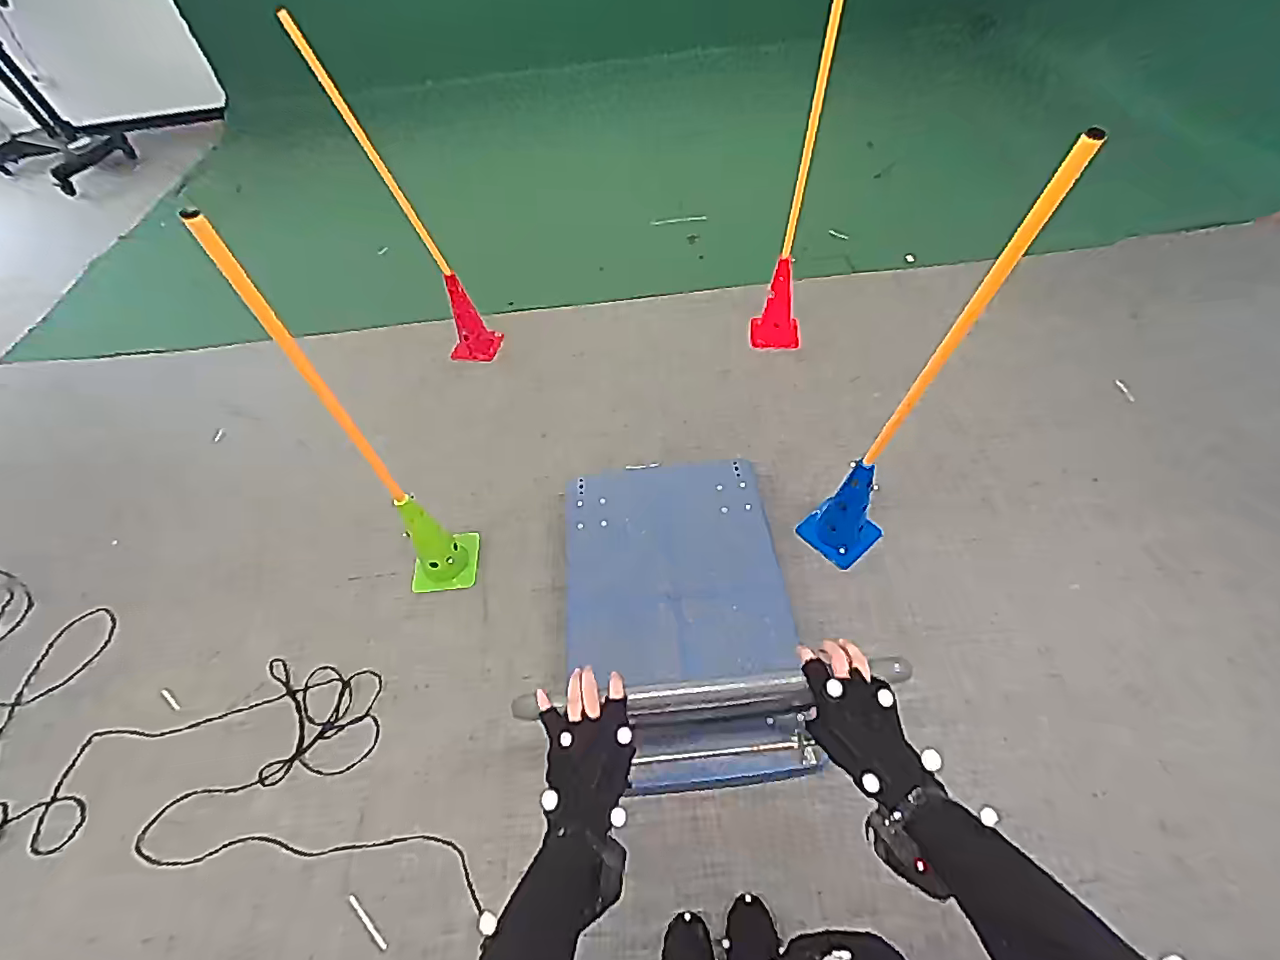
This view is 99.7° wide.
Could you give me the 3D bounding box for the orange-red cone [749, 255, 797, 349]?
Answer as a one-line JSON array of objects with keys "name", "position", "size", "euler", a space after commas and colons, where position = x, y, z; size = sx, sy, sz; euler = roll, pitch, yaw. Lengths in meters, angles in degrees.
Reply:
[{"name": "orange-red cone", "position": [0.546, -0.720, 2.151], "size": [0.198, 0.360, 0.199], "euler": [3, 54, 8]}]
